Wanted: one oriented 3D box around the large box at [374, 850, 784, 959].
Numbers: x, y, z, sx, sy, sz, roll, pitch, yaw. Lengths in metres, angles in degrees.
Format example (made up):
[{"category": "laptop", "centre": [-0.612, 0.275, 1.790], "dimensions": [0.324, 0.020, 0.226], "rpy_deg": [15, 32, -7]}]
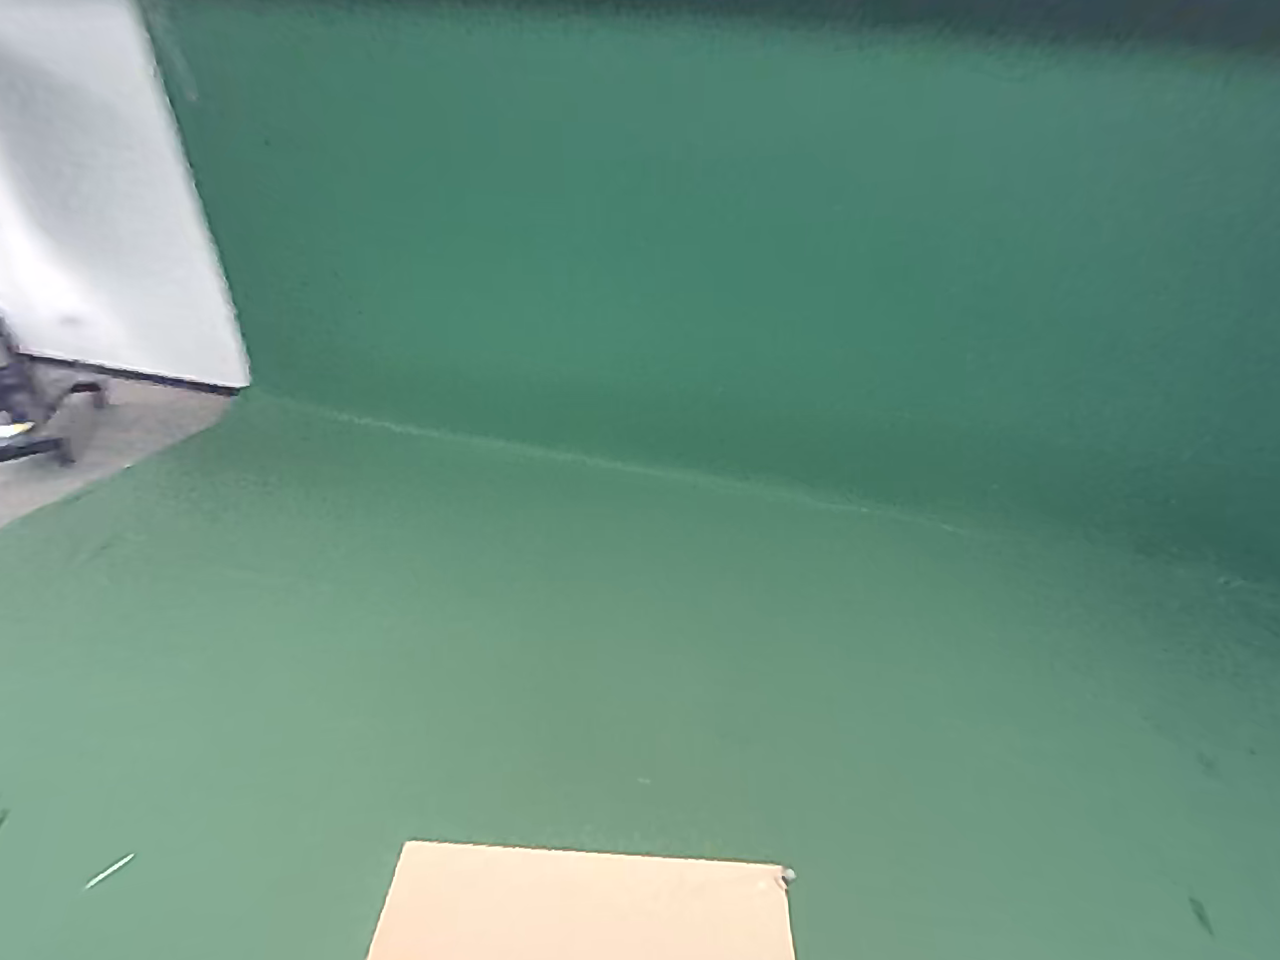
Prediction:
[{"category": "large box", "centre": [-0.068, 0.622, 0.565], "dimensions": [0.408, 0.320, 0.320], "rpy_deg": [4, 40, -2]}]
